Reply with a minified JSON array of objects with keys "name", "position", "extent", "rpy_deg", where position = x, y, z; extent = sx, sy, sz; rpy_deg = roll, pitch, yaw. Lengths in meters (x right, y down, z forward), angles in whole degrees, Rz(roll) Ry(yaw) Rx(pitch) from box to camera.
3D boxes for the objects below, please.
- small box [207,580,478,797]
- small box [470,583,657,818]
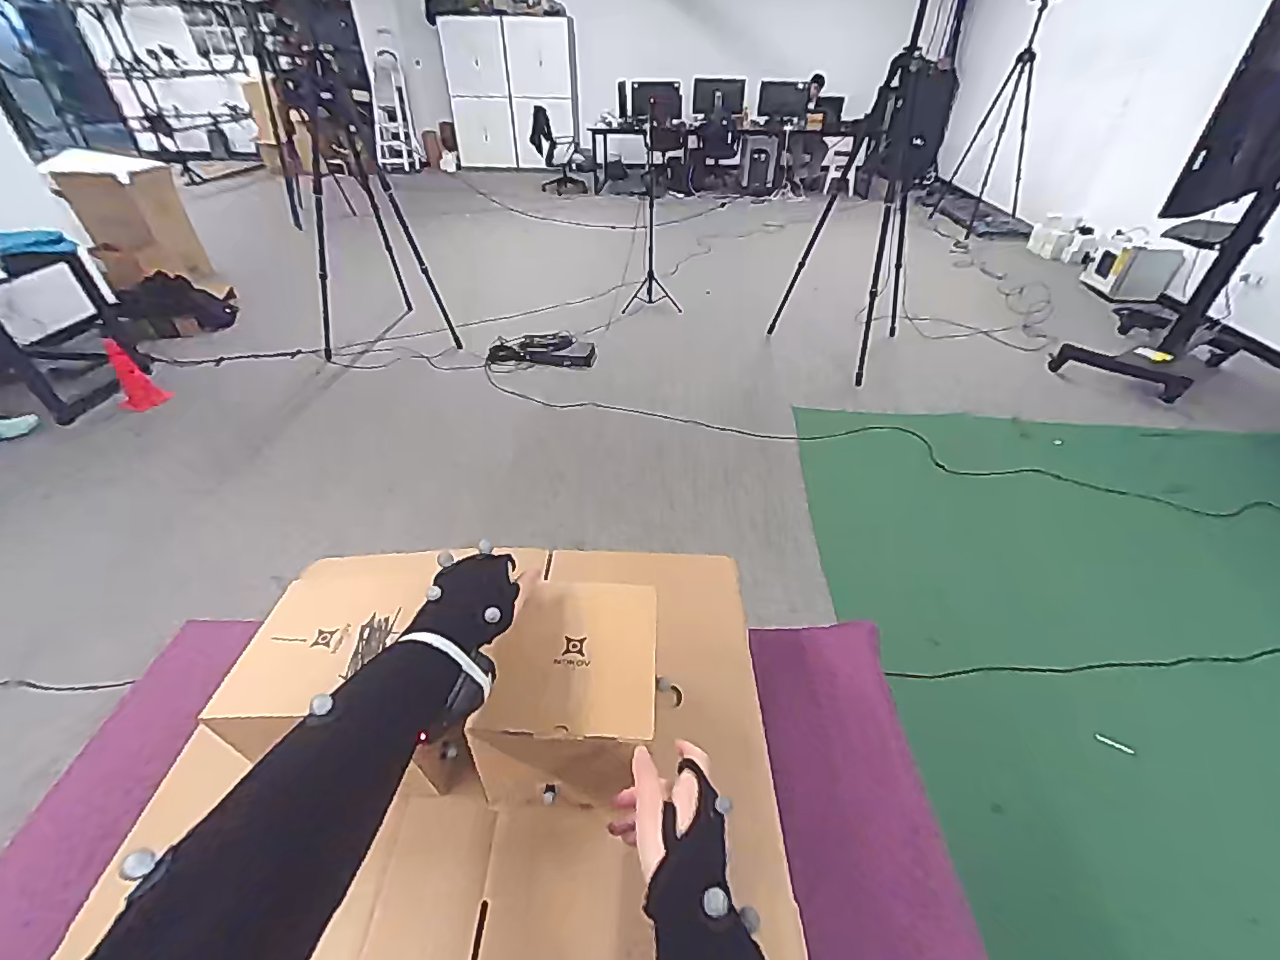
[{"name":"small box","position":[-0.300,0.230,0.597],"extent":[0.179,0.176,0.168],"rpy_deg":[-4,39,6]},{"name":"small box","position":[-0.070,0.237,0.591],"extent":[0.168,0.176,0.179],"rpy_deg":[3,40,1]}]
